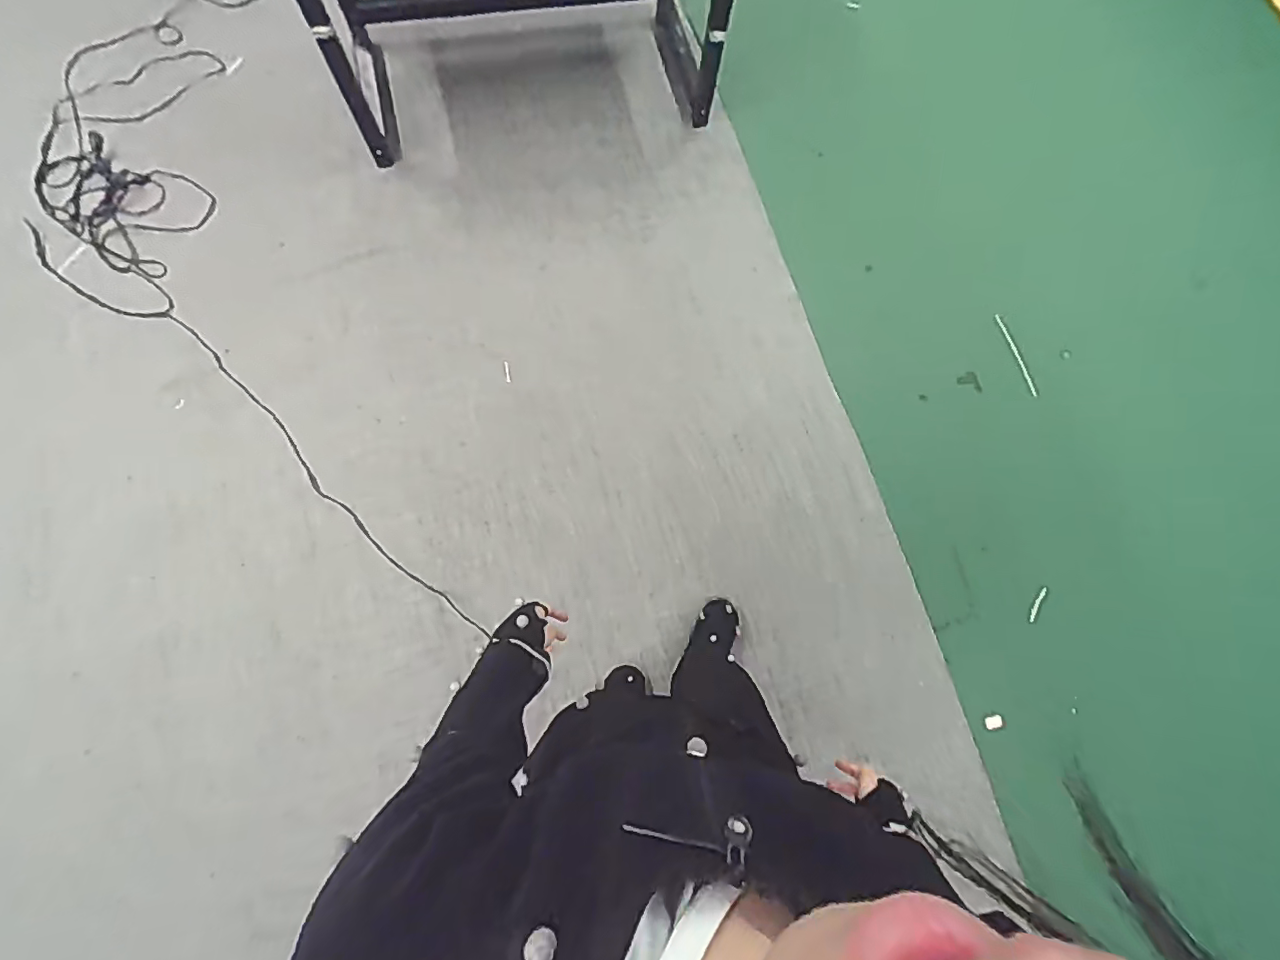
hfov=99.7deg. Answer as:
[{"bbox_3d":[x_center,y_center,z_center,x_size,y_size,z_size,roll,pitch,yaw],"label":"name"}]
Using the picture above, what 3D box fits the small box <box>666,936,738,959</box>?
[{"bbox_3d":[0.159,1.173,1.200,0.168,0.176,0.179,-9,74,-8],"label":"small box"}]
